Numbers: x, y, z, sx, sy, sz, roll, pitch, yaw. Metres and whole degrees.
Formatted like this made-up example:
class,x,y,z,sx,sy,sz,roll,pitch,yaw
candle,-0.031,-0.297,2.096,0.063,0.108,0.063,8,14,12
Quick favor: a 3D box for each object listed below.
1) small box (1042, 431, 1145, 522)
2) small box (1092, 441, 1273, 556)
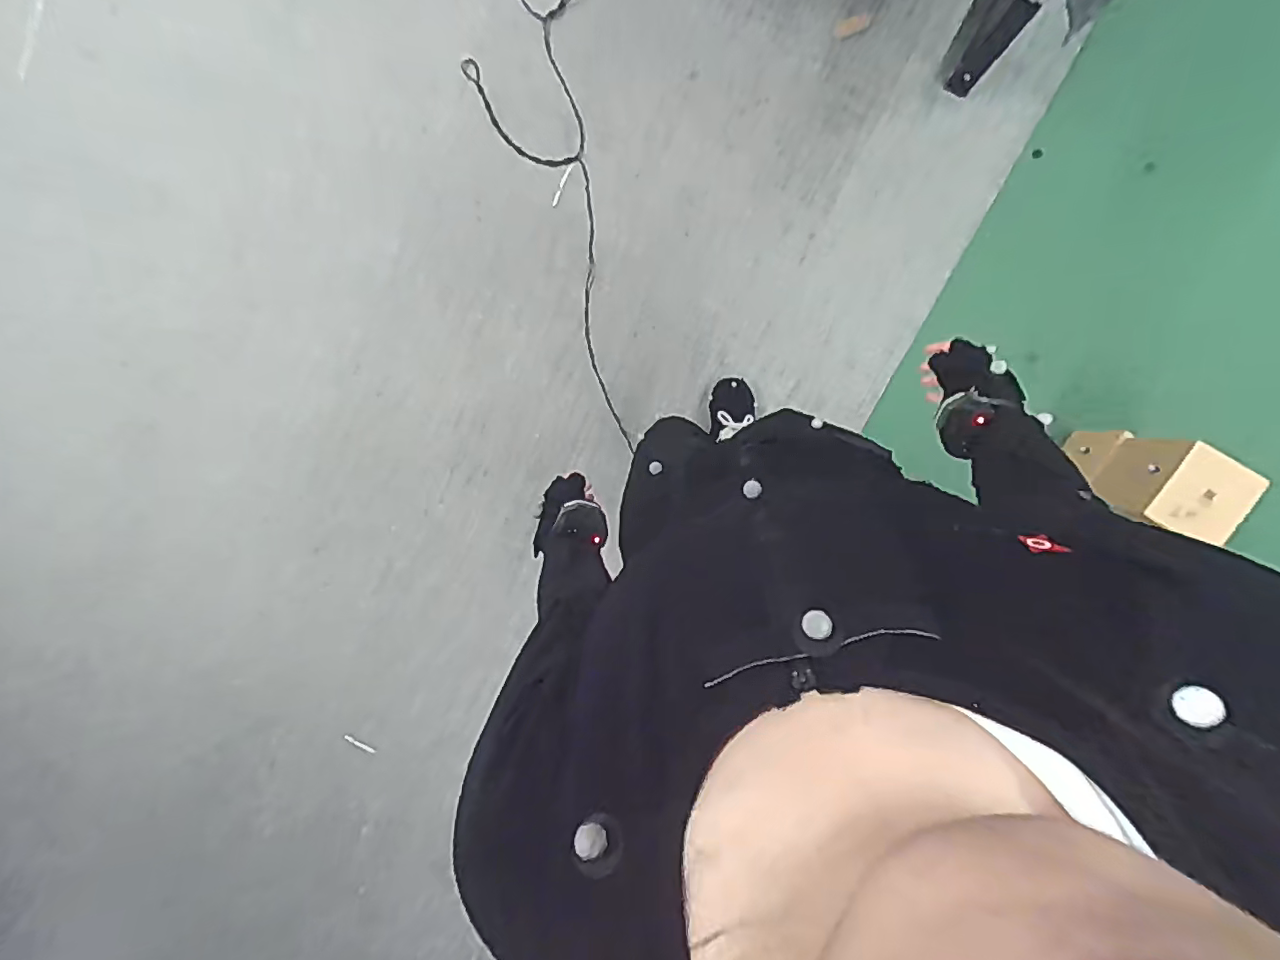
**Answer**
class,x,y,z,sx,sy,sz,roll,pitch,yaw
small box,1.127,-0.003,1.294,0.179,0.176,0.168,32,98,0
small box,1.117,0.029,1.132,0.168,0.176,0.179,31,98,1
